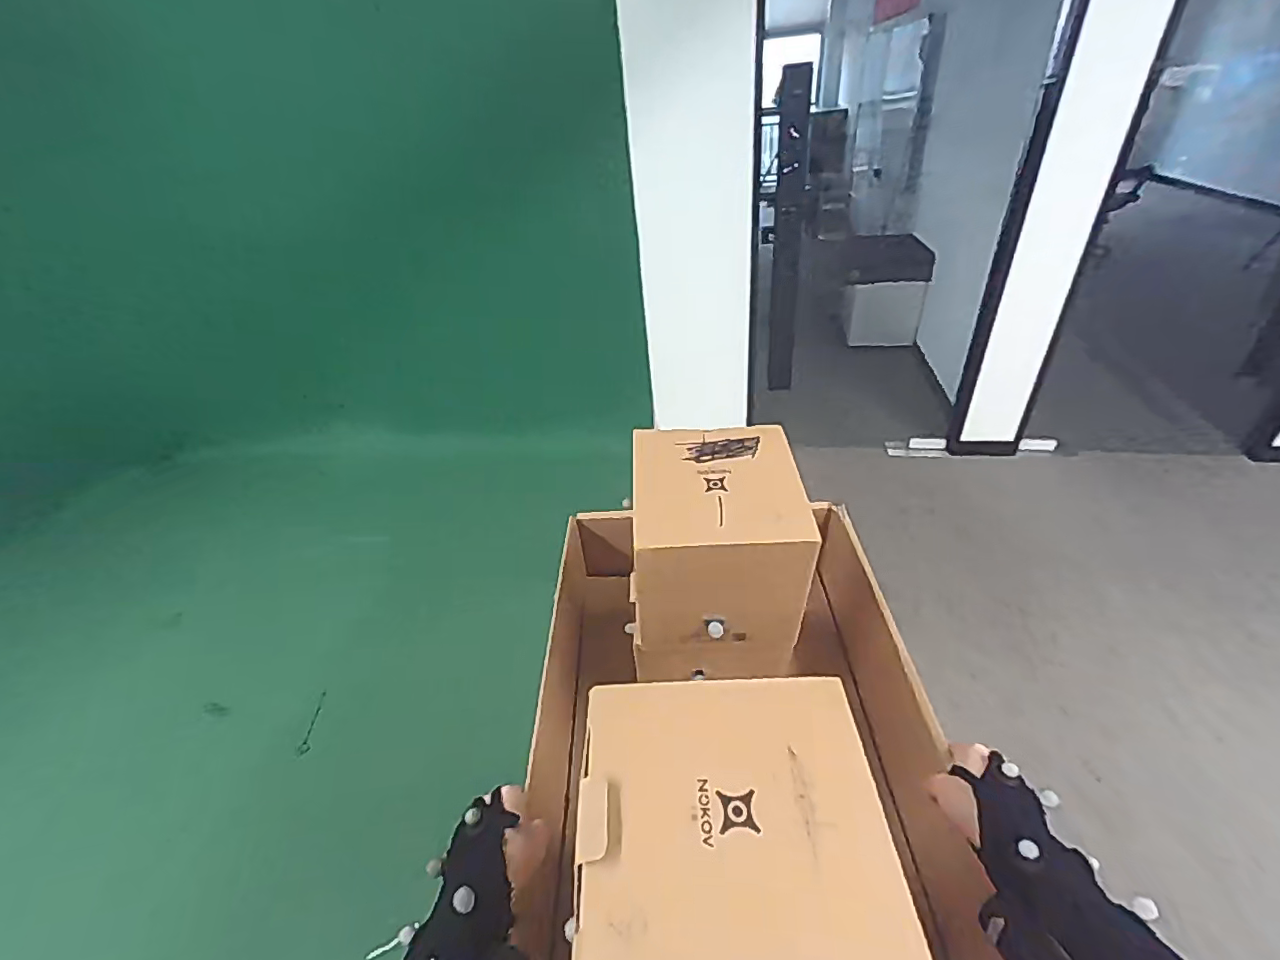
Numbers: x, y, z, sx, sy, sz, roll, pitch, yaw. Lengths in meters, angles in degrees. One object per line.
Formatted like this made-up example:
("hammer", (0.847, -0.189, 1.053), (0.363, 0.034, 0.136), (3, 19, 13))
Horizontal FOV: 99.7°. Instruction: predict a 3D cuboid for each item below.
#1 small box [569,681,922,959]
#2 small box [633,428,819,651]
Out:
("small box", (0.054, 0.257, 0.367), (0.179, 0.176, 0.168), (-2, 41, 0))
("small box", (0.077, 0.063, 0.586), (0.168, 0.176, 0.179), (-3, 42, 1))
